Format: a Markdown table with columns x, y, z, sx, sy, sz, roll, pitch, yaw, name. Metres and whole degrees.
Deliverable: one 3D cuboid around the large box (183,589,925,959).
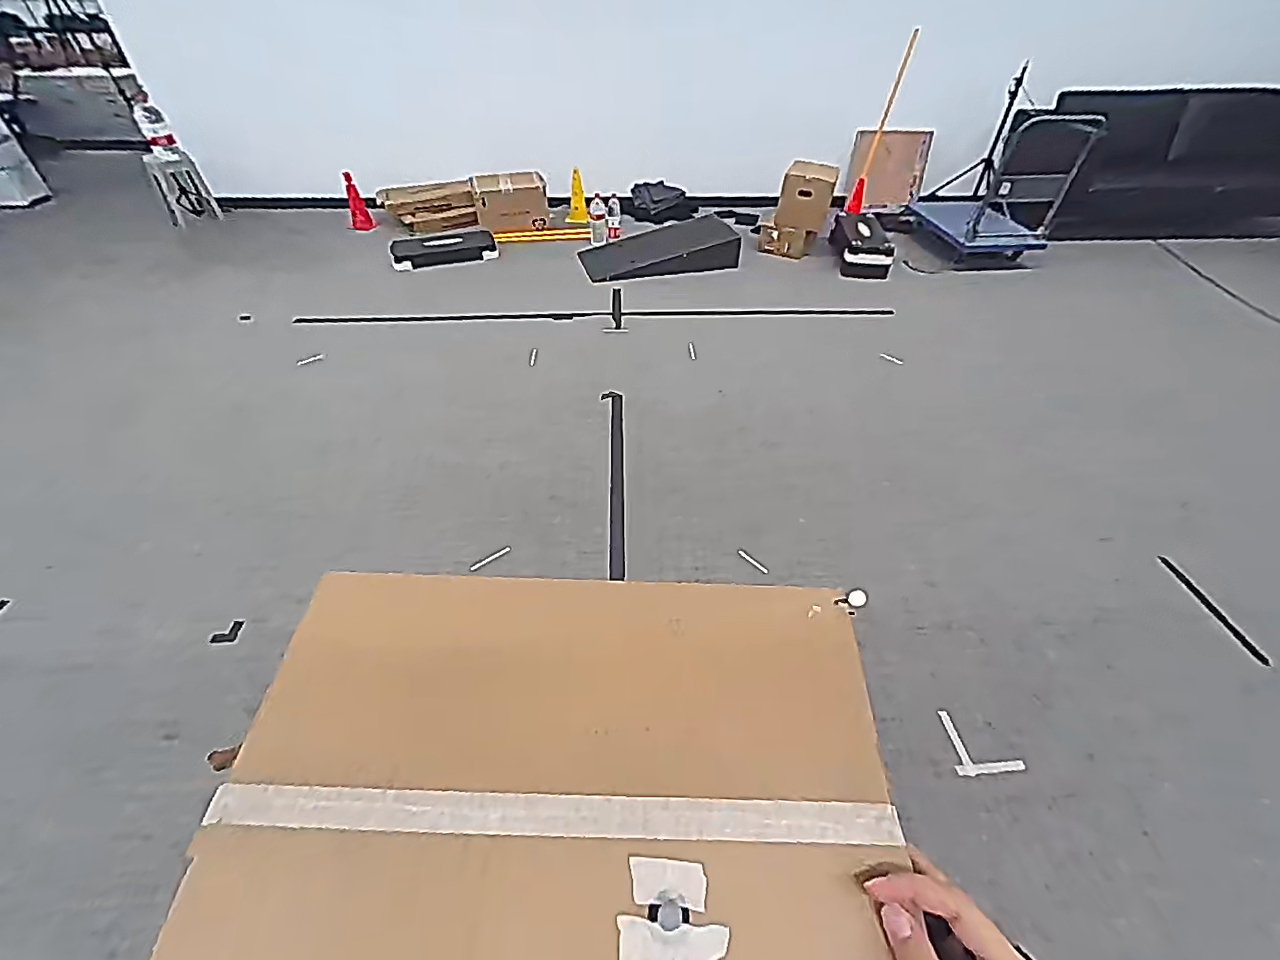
| x | y | z | sx | sy | sz | roll | pitch | yaw | name |
| --- | --- | --- | --- | --- | --- | --- | --- | --- | --- |
| -0.047 | 0.303 | 0.443 | 0.408 | 0.320 | 0.320 | 2 | 52 | 0 | large box |
